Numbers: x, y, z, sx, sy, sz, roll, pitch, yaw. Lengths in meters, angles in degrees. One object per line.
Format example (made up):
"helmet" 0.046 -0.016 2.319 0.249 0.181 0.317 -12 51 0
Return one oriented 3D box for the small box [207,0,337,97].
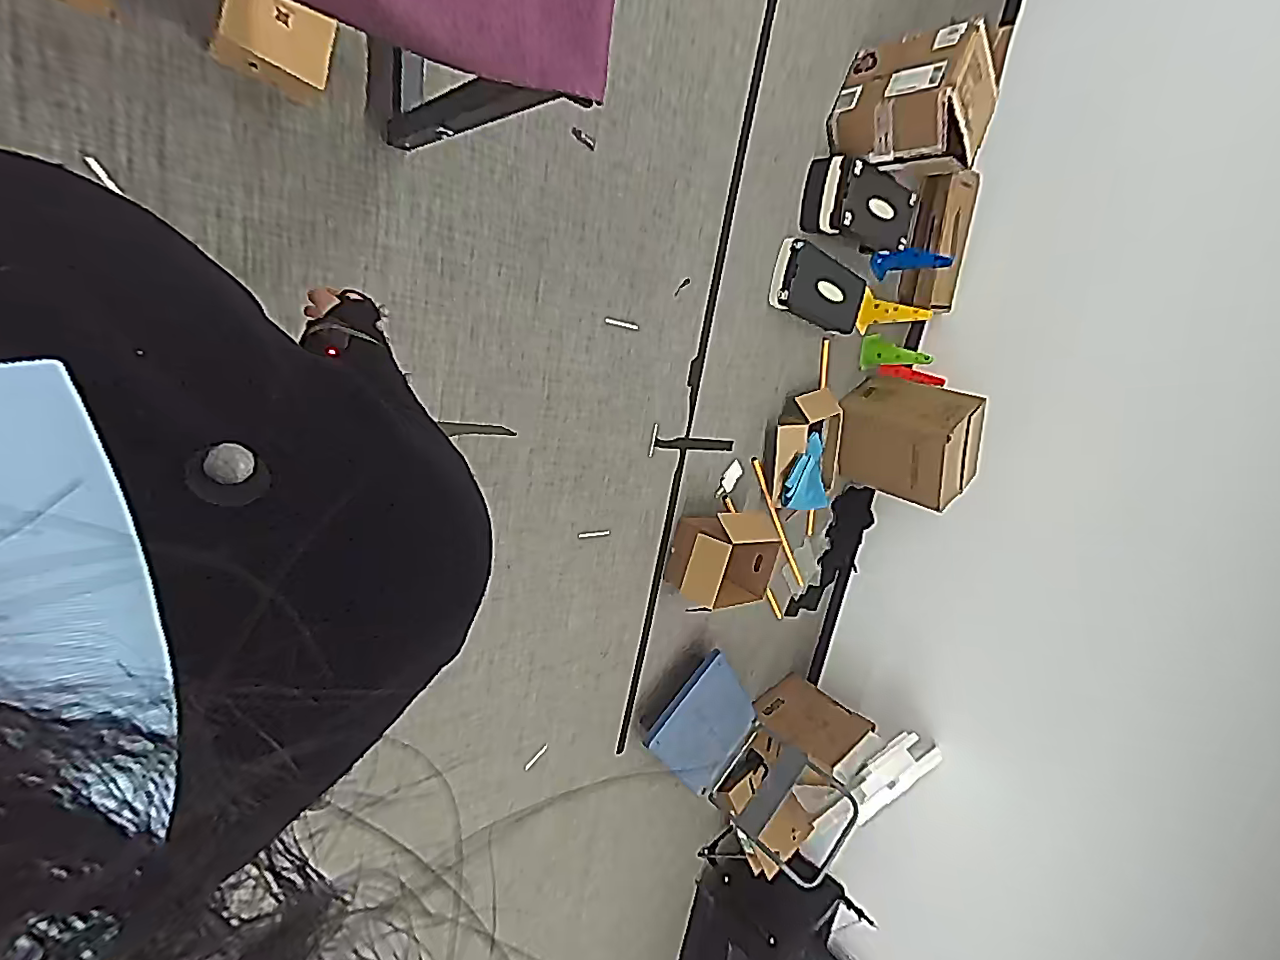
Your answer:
"small box" -0.703 -0.874 1.028 0.168 0.176 0.179 9 101 -46
